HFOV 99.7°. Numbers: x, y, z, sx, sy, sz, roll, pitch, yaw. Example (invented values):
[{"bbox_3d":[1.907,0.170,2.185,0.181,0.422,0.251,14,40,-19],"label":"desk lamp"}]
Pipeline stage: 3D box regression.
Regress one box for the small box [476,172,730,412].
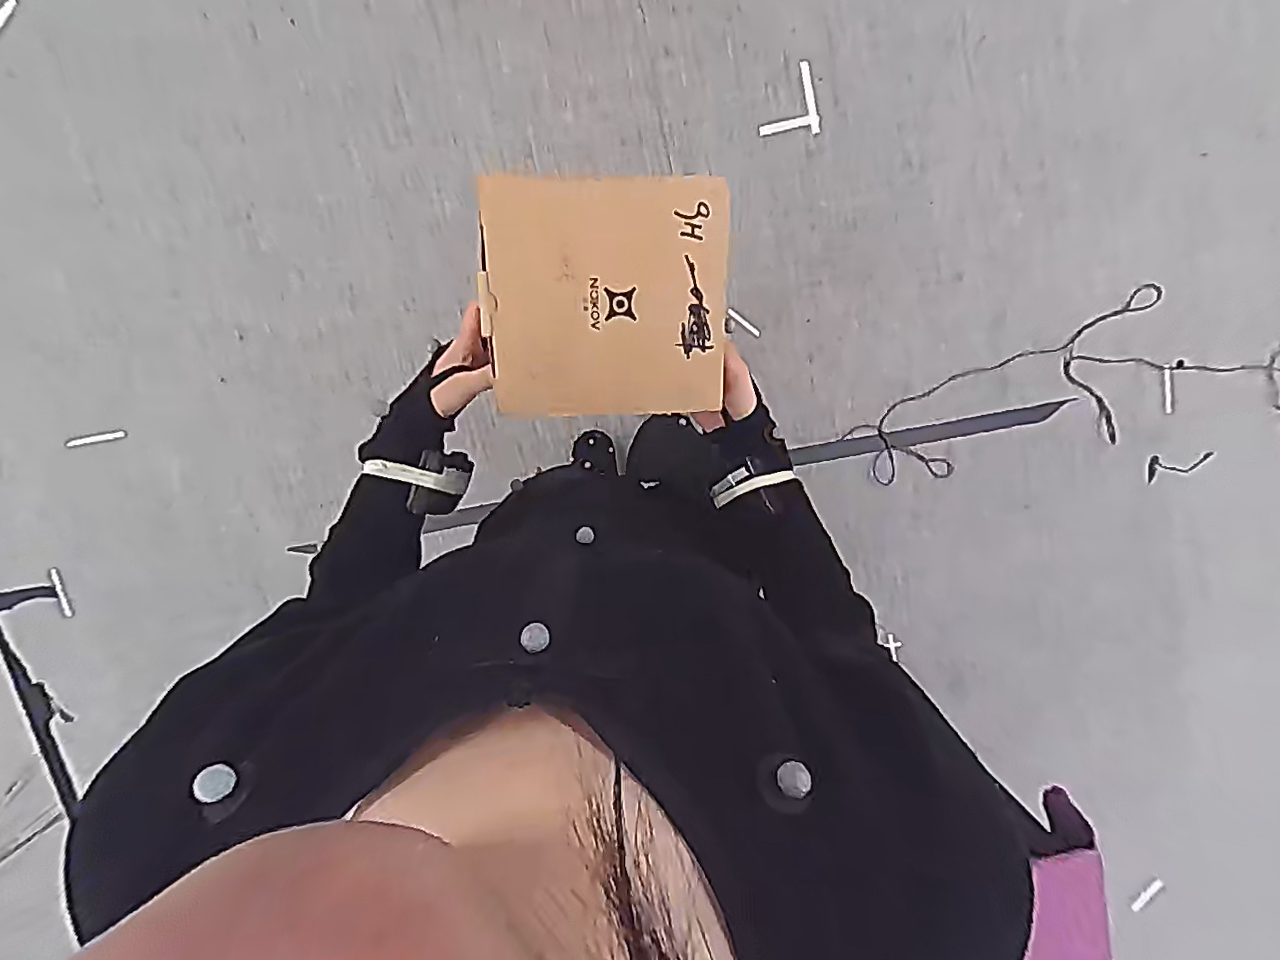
[{"bbox_3d":[-0.029,-0.154,0.465,0.179,0.176,0.168,-2,108,-4],"label":"small box"}]
